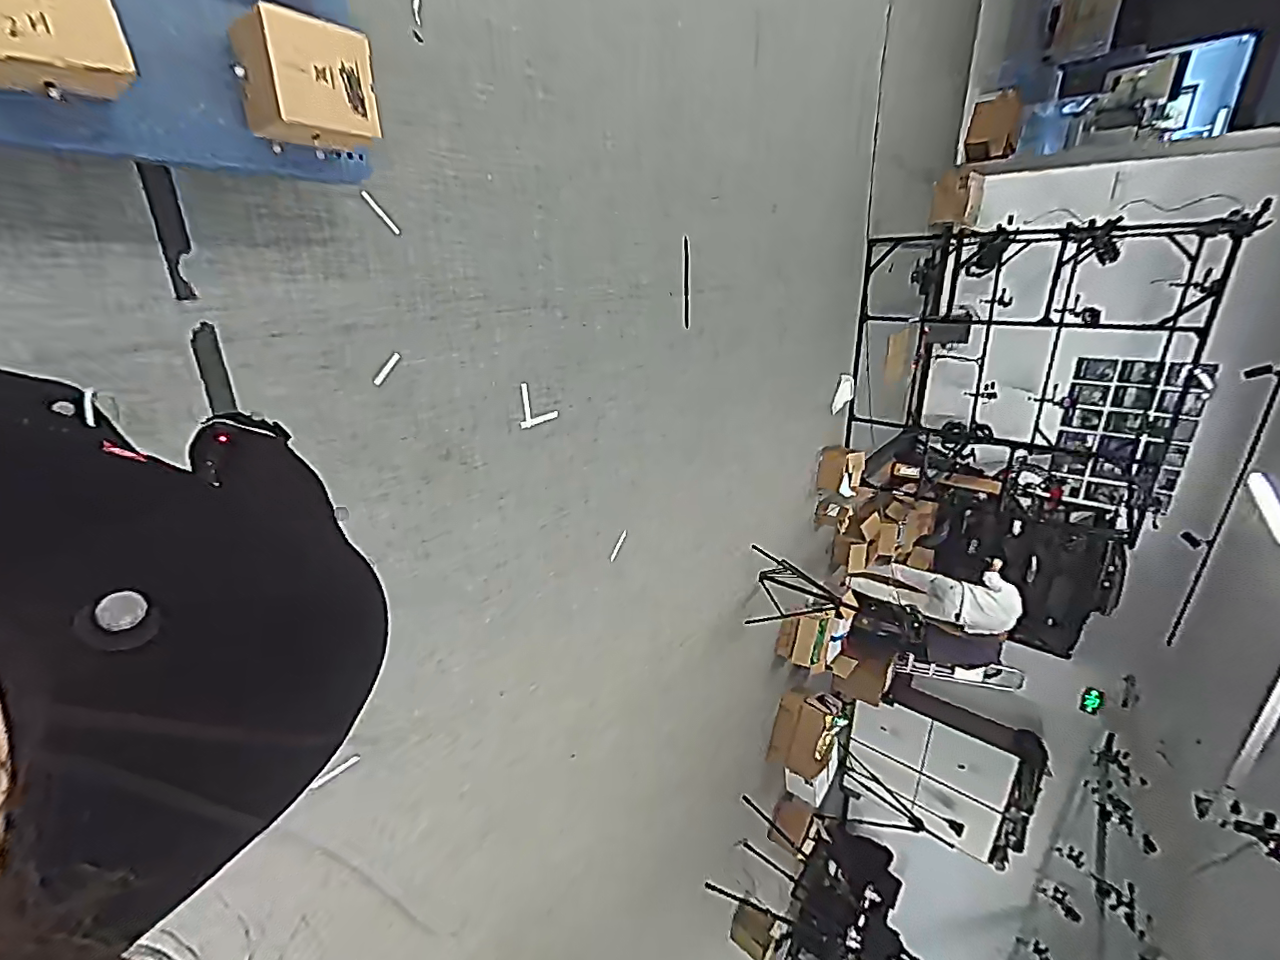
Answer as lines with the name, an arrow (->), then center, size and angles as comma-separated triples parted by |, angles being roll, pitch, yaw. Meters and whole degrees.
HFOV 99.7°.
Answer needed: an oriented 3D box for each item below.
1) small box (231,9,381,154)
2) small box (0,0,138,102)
small box -> -0.616, -0.721, 1.004 | 0.179, 0.176, 0.168 | -22, 119, -46
small box -> -0.842, -0.645, 0.737 | 0.168, 0.176, 0.179 | -29, 124, -44
